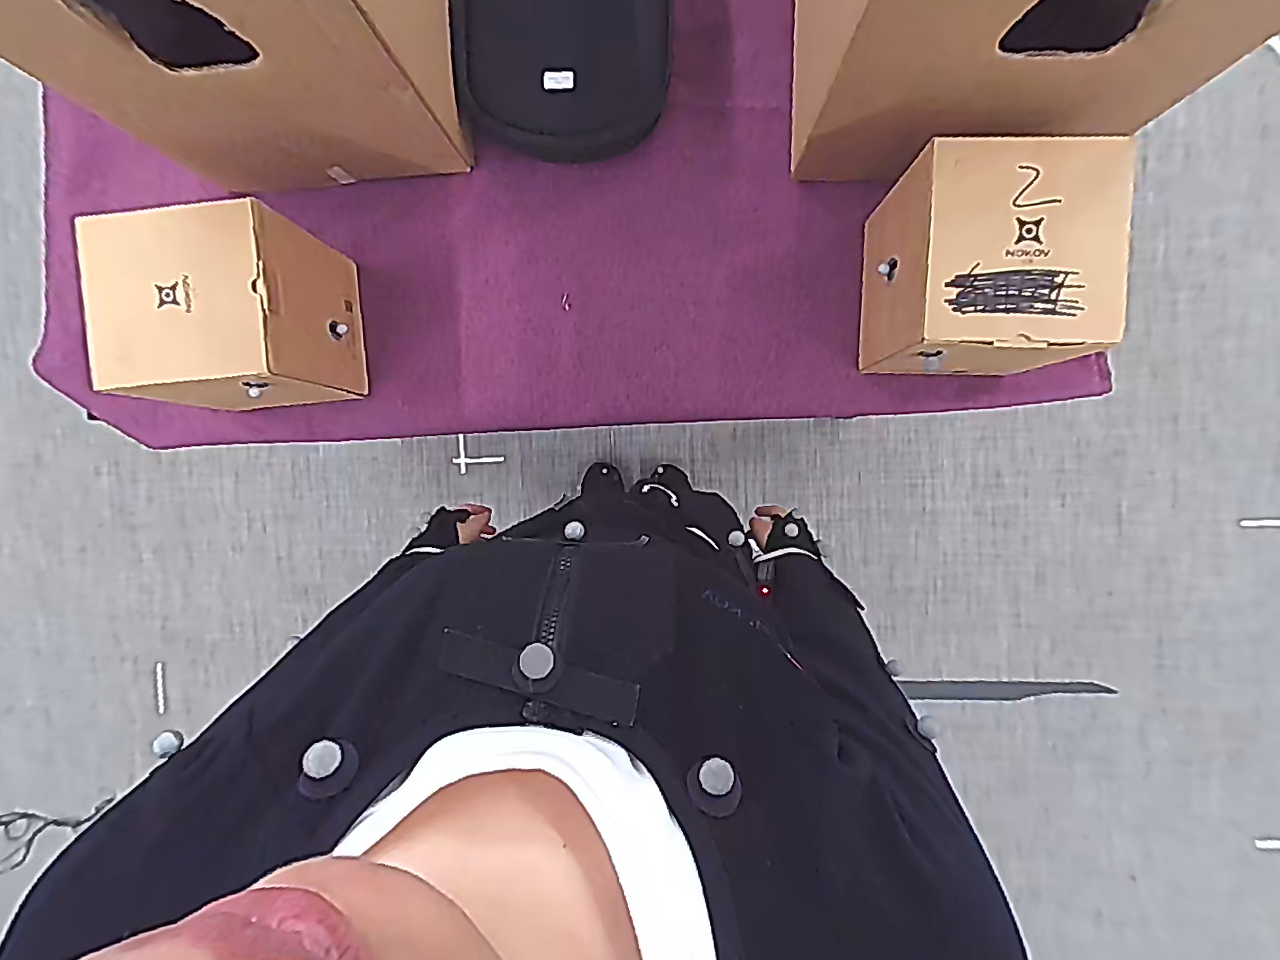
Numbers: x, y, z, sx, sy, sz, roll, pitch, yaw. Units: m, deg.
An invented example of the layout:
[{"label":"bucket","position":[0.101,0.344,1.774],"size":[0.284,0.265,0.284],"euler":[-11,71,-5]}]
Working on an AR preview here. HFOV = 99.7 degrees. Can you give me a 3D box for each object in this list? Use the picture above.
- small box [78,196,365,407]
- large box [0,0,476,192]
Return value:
[{"label":"small box","position":[-0.432,-0.176,0.585],"size":[0.179,0.176,0.168],"euler":[-6,91,2]},{"label":"large box","position":[-0.367,-0.549,0.498],"size":[0.320,0.320,0.408],"euler":[-4,94,4]}]
